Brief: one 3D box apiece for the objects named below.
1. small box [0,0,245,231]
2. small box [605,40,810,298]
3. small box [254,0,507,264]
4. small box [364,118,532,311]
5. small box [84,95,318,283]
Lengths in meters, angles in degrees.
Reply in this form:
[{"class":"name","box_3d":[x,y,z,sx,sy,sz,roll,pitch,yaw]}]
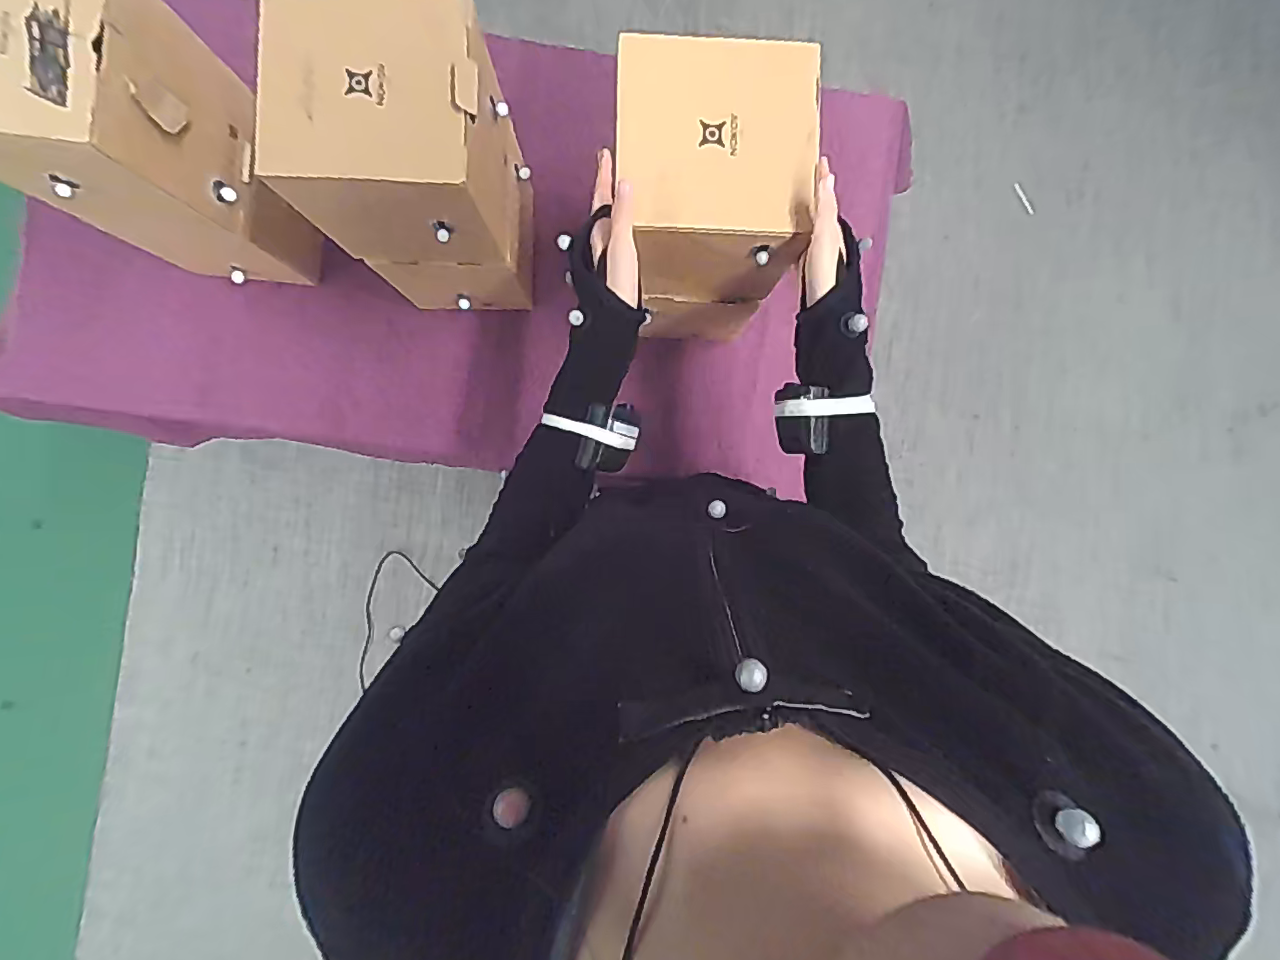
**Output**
[{"class":"small box","box_3d":[-0.529,-0.363,0.526,0.179,0.176,0.168,6,91,-1]},{"class":"small box","box_3d":[0.057,-0.294,0.546,0.179,0.176,0.168,1,90,-2]},{"class":"small box","box_3d":[-0.237,-0.329,0.537,0.179,0.176,0.168,3,89,-1]},{"class":"small box","box_3d":[-0.238,-0.334,0.701,0.168,0.176,0.179,1,91,-1]},{"class":"small box","box_3d":[-0.535,-0.365,0.690,0.179,0.176,0.168,6,90,-2]}]
